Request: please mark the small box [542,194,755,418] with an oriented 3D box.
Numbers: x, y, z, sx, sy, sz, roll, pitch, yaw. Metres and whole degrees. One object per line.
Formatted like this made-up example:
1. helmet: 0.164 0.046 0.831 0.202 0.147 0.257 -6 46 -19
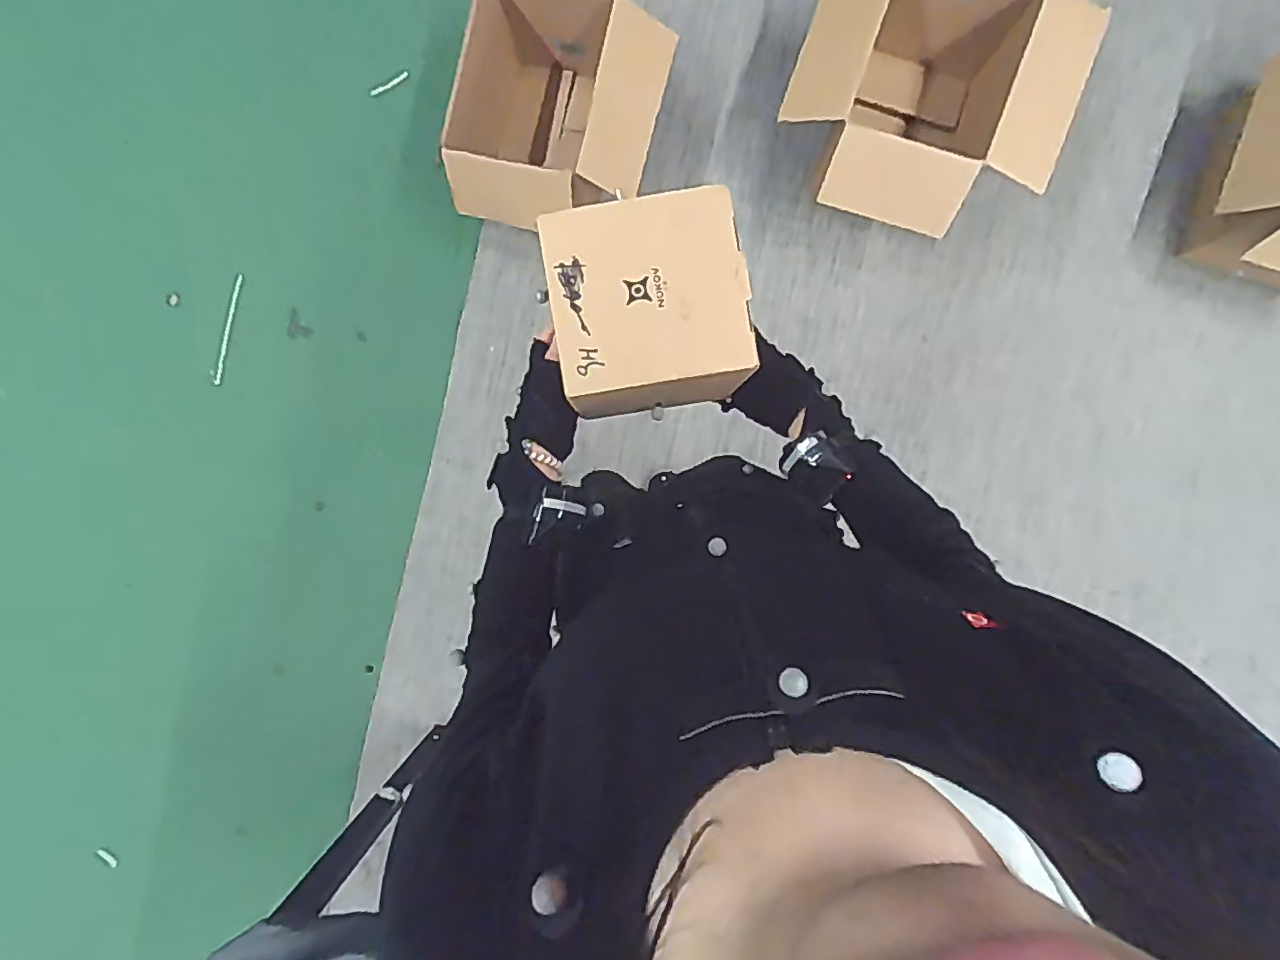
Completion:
1. small box: 0.005 -0.165 0.561 0.179 0.176 0.168 -8 88 -1
